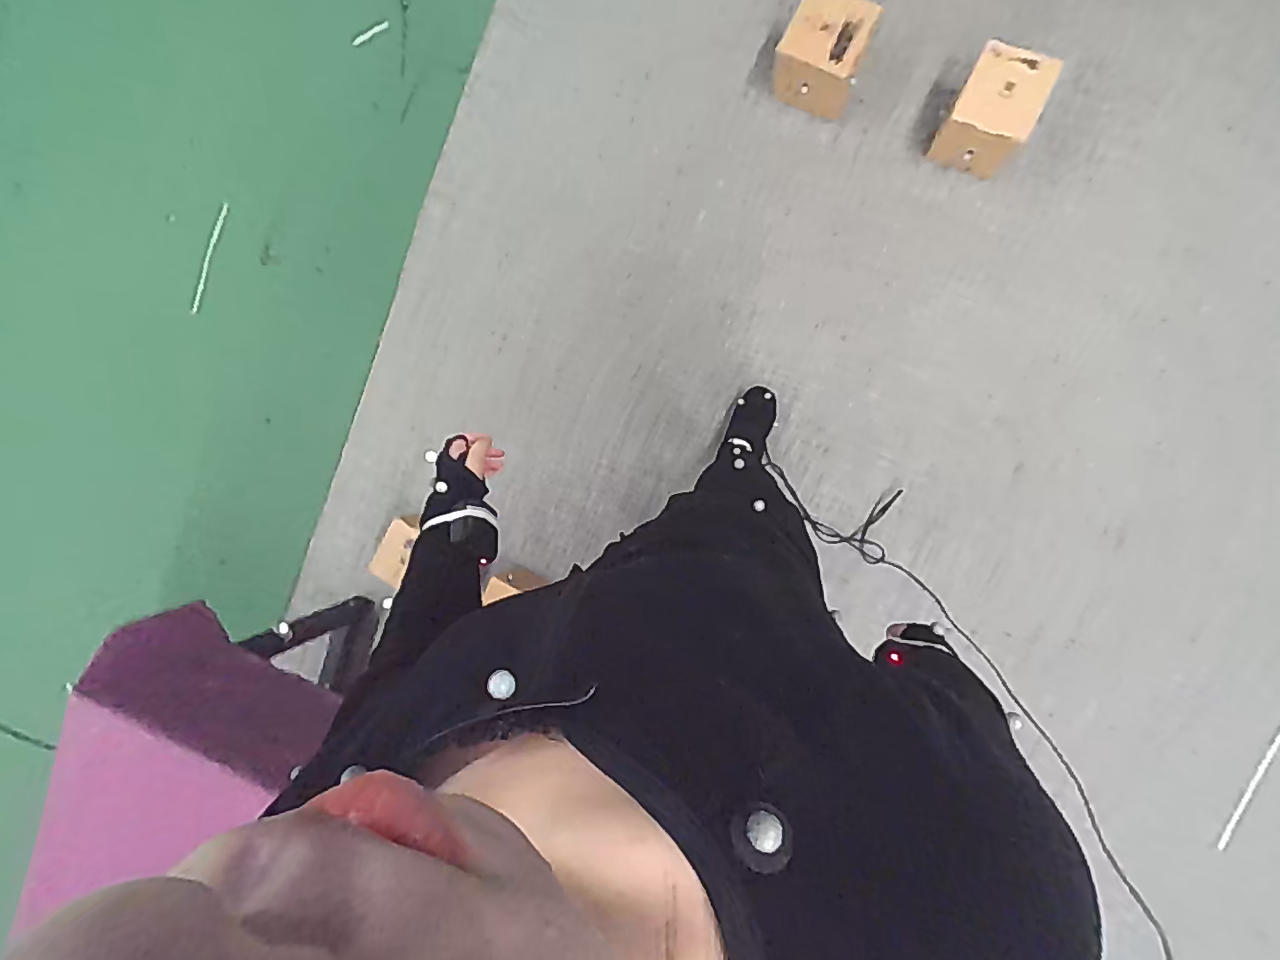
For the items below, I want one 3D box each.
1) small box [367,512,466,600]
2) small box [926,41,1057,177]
[{"bbox_3d":[-0.627,0.208,1.541,0.168,0.176,0.179,32,98,8],"label":"small box"},{"bbox_3d":[0.785,-0.834,1.235,0.168,0.176,0.179,26,97,8],"label":"small box"}]
